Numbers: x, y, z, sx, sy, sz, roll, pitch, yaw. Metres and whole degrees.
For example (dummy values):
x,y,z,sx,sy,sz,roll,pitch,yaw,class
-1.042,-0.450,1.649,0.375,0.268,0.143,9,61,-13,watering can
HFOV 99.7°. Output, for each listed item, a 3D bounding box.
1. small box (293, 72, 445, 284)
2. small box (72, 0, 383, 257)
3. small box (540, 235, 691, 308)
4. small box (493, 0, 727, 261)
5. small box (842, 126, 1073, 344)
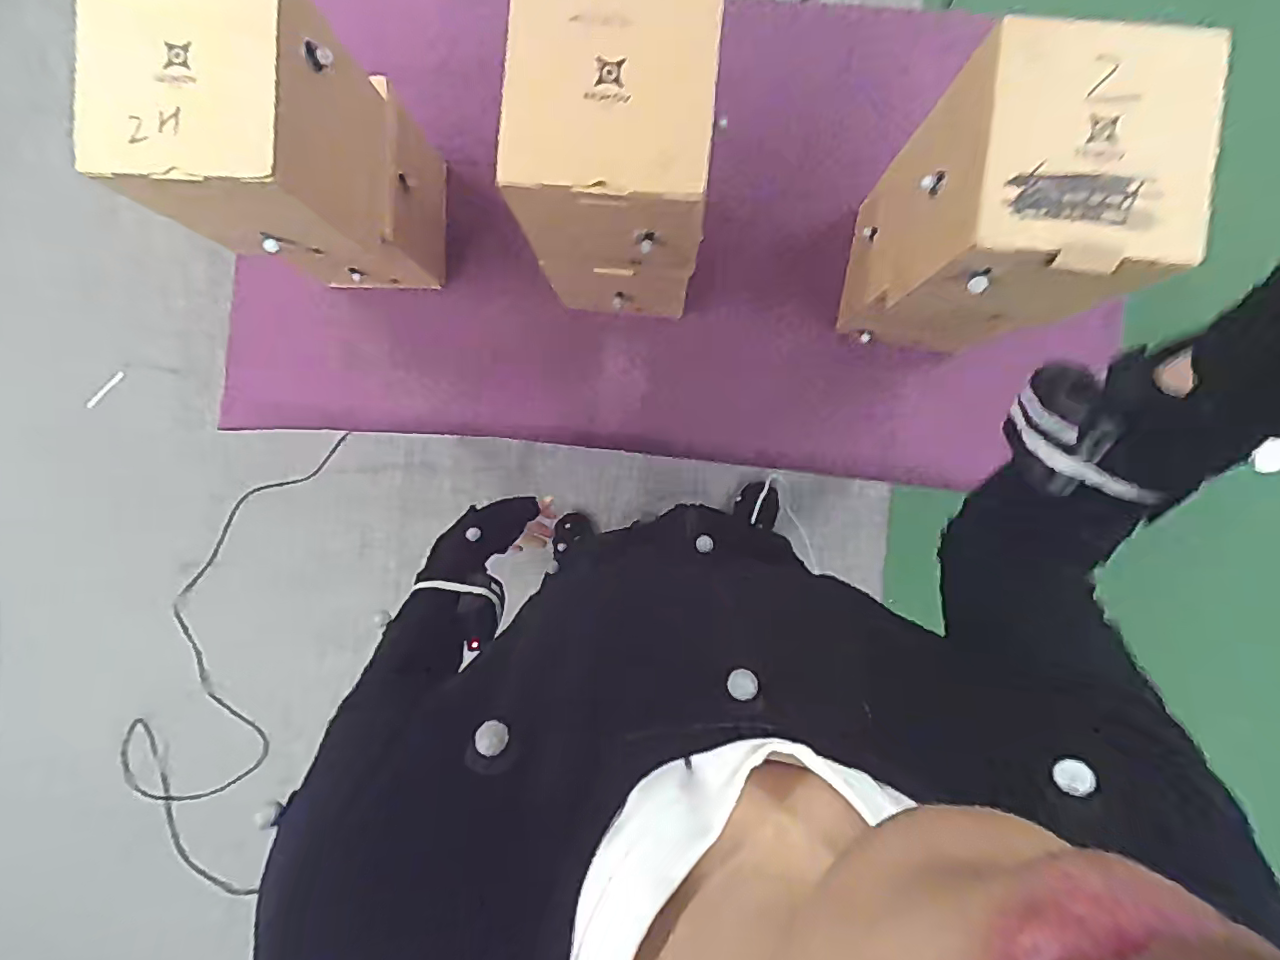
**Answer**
x,y,z,sx,sy,sz,roll,pitch,yaw,class
-0.353,-0.359,0.669,0.168,0.176,0.179,1,92,2,small box
-0.361,-0.331,0.505,0.168,0.176,0.179,3,93,2,small box
-0.018,-0.319,0.660,0.168,0.176,0.179,2,91,3,small box
-0.018,-0.312,0.478,0.168,0.176,0.179,5,91,2,small box
0.357,-0.274,0.646,0.168,0.176,0.179,10,91,2,small box
